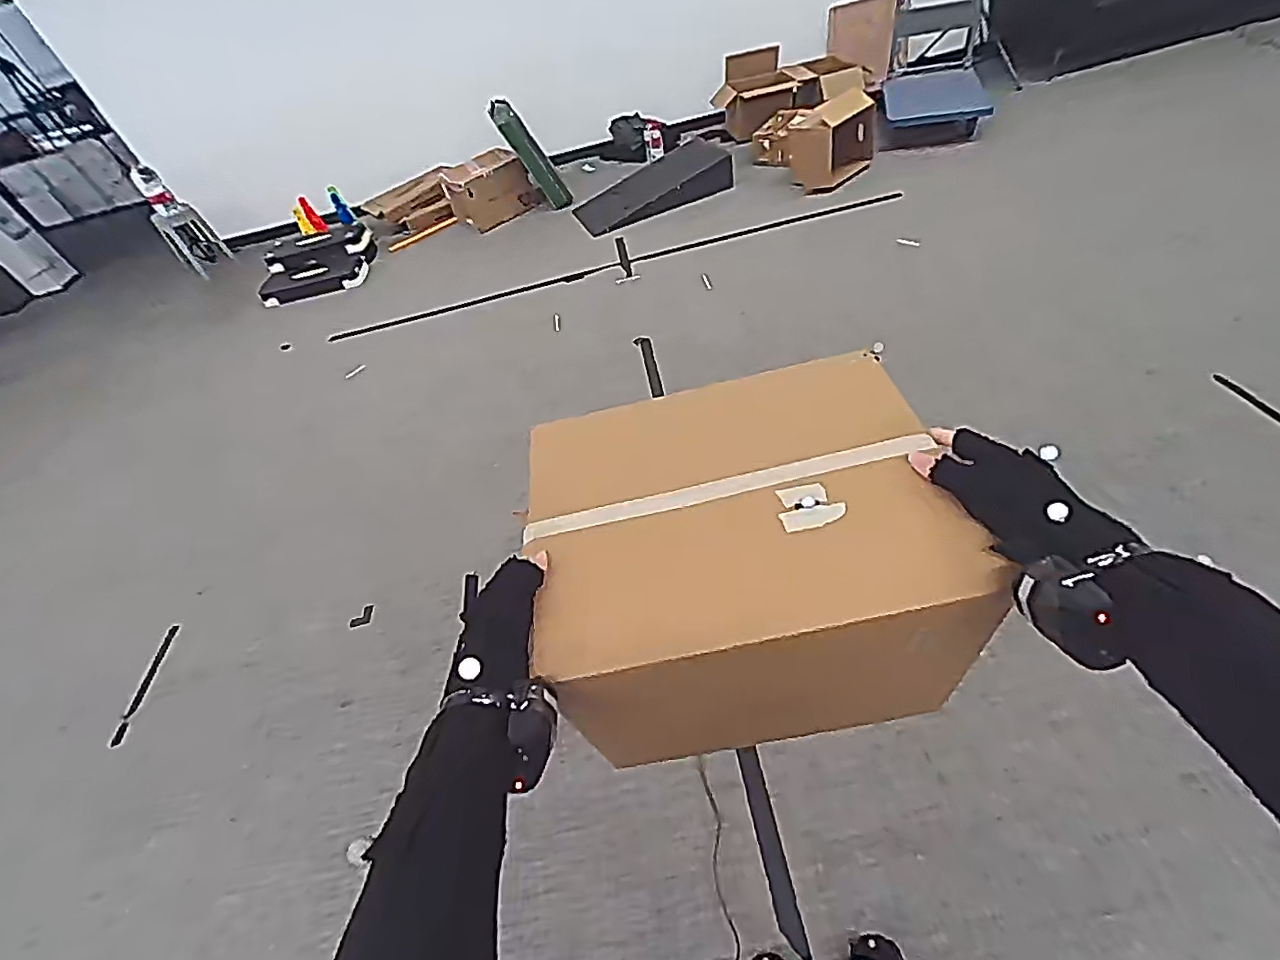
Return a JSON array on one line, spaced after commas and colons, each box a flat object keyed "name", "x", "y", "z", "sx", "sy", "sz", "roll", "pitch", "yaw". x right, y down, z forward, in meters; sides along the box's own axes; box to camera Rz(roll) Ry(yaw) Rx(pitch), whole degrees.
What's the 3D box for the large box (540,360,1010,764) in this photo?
[{"name": "large box", "x": 0.117, "y": 0.109, "z": 0.657, "sx": 0.408, "sy": 0.320, "sz": 0.320, "roll": -13, "pitch": 50, "yaw": 3}]
